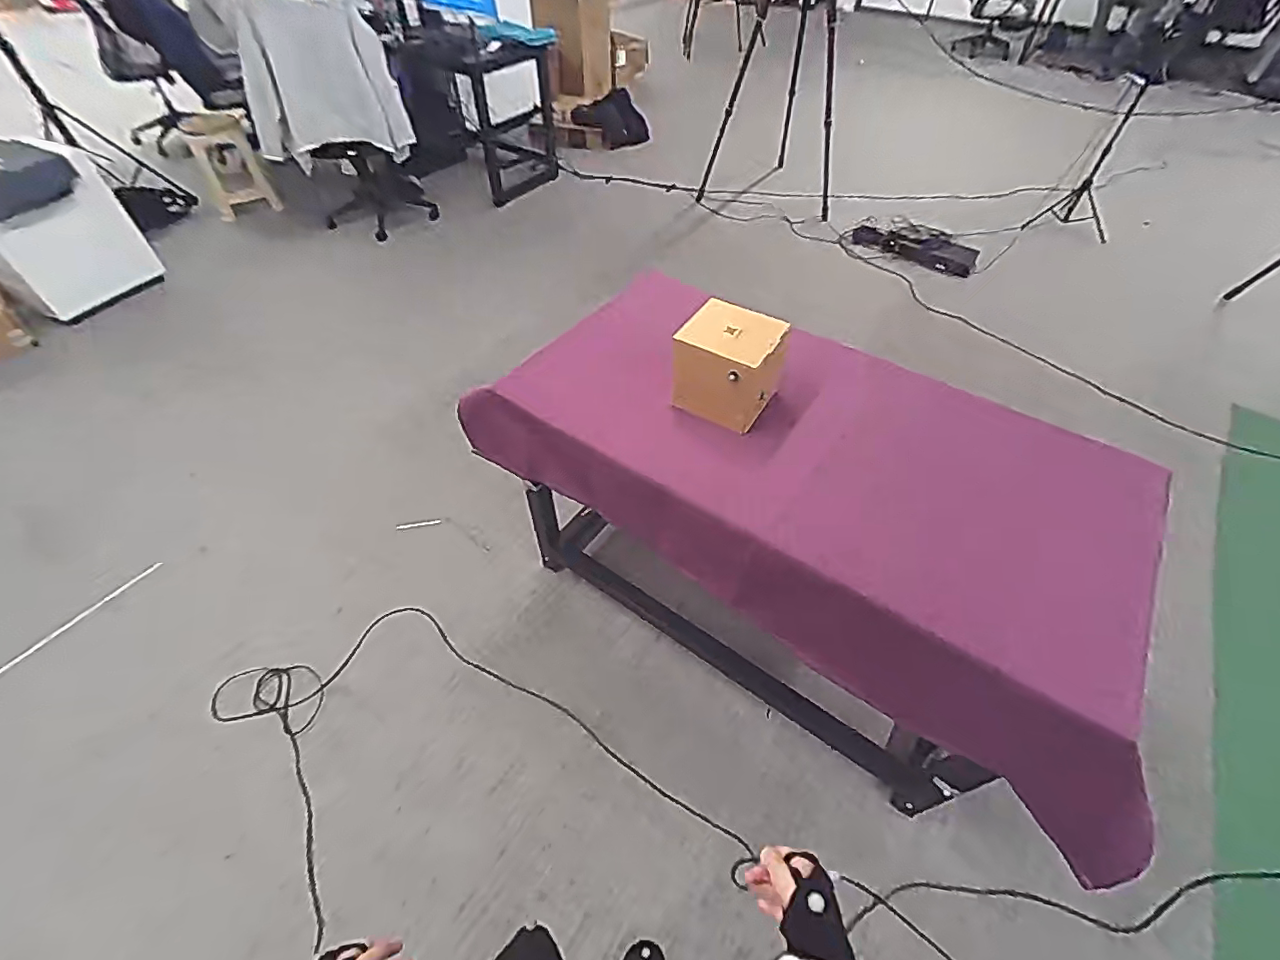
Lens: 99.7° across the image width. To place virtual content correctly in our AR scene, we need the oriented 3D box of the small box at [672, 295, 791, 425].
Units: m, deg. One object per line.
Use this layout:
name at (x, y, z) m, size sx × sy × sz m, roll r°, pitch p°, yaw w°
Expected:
small box at (0.176, -0.237, 1.086) m, size 0.179 × 0.176 × 0.168 m, roll 26°, pitch 55°, yaw 18°
